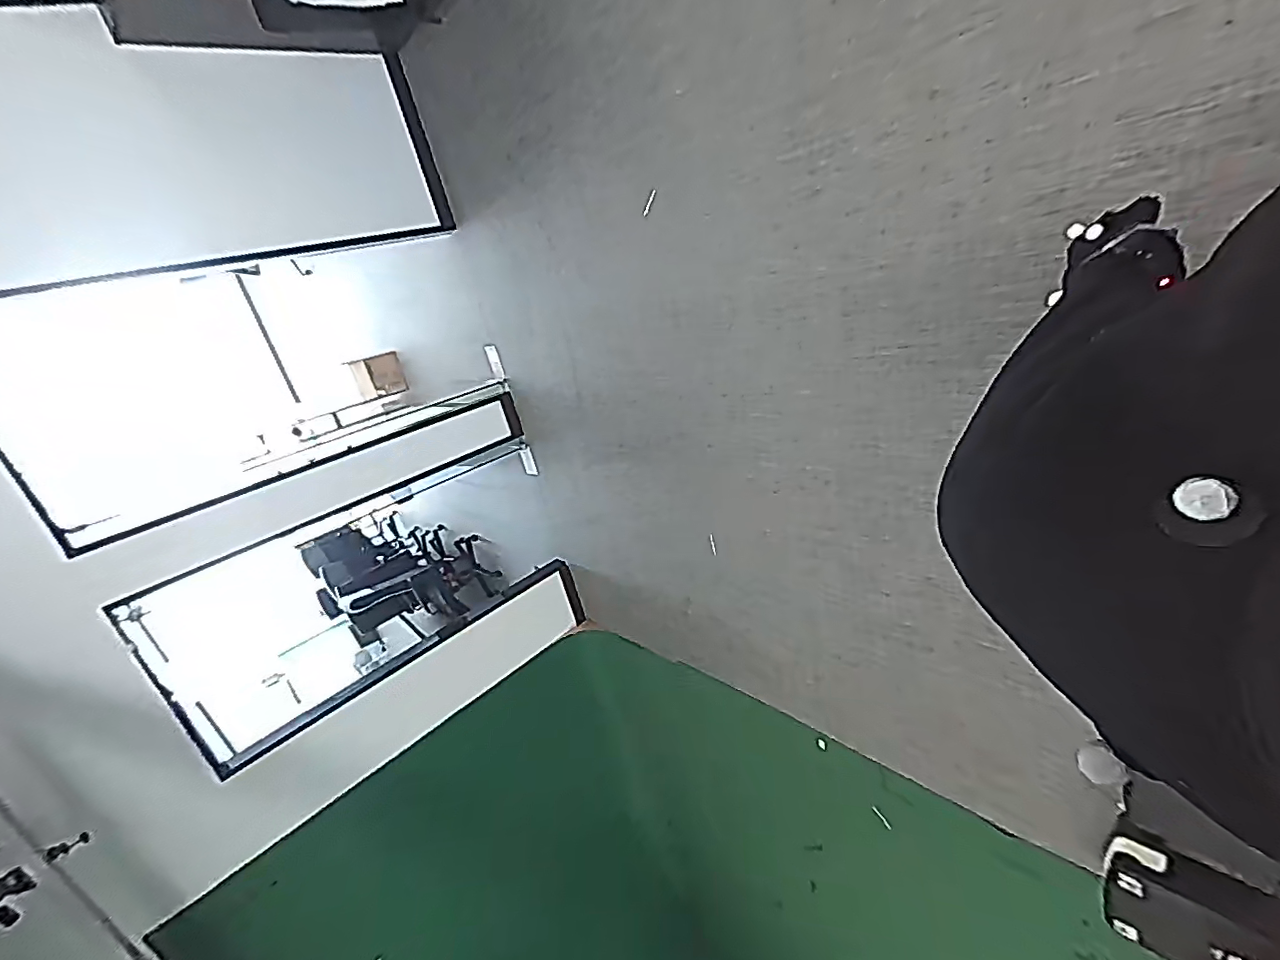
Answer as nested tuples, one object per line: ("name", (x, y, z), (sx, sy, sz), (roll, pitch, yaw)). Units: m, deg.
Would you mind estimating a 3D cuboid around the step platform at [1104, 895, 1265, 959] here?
("step platform", (1.457, 1.261, 1.170), (0.684, 0.204, 0.286), (8, 120, 47))
